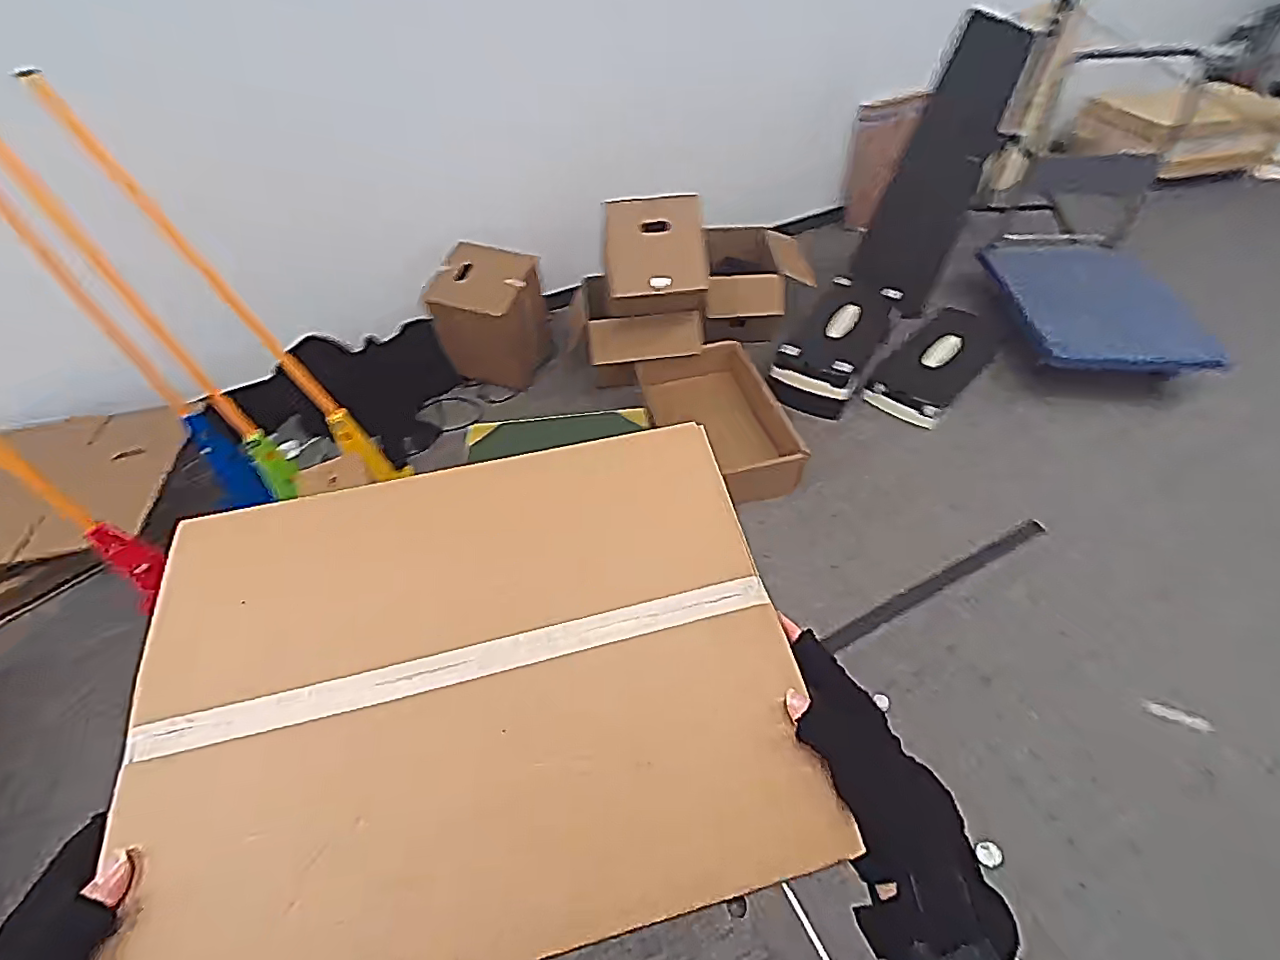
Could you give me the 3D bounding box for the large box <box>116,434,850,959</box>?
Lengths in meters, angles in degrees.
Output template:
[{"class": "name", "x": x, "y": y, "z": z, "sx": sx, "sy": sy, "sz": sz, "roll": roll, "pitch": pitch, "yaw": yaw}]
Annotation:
[{"class": "large box", "x": -0.103, "y": 0.203, "z": 0.485, "sx": 0.408, "sy": 0.320, "sz": 0.320, "roll": -11, "pitch": 59, "yaw": -7}]
